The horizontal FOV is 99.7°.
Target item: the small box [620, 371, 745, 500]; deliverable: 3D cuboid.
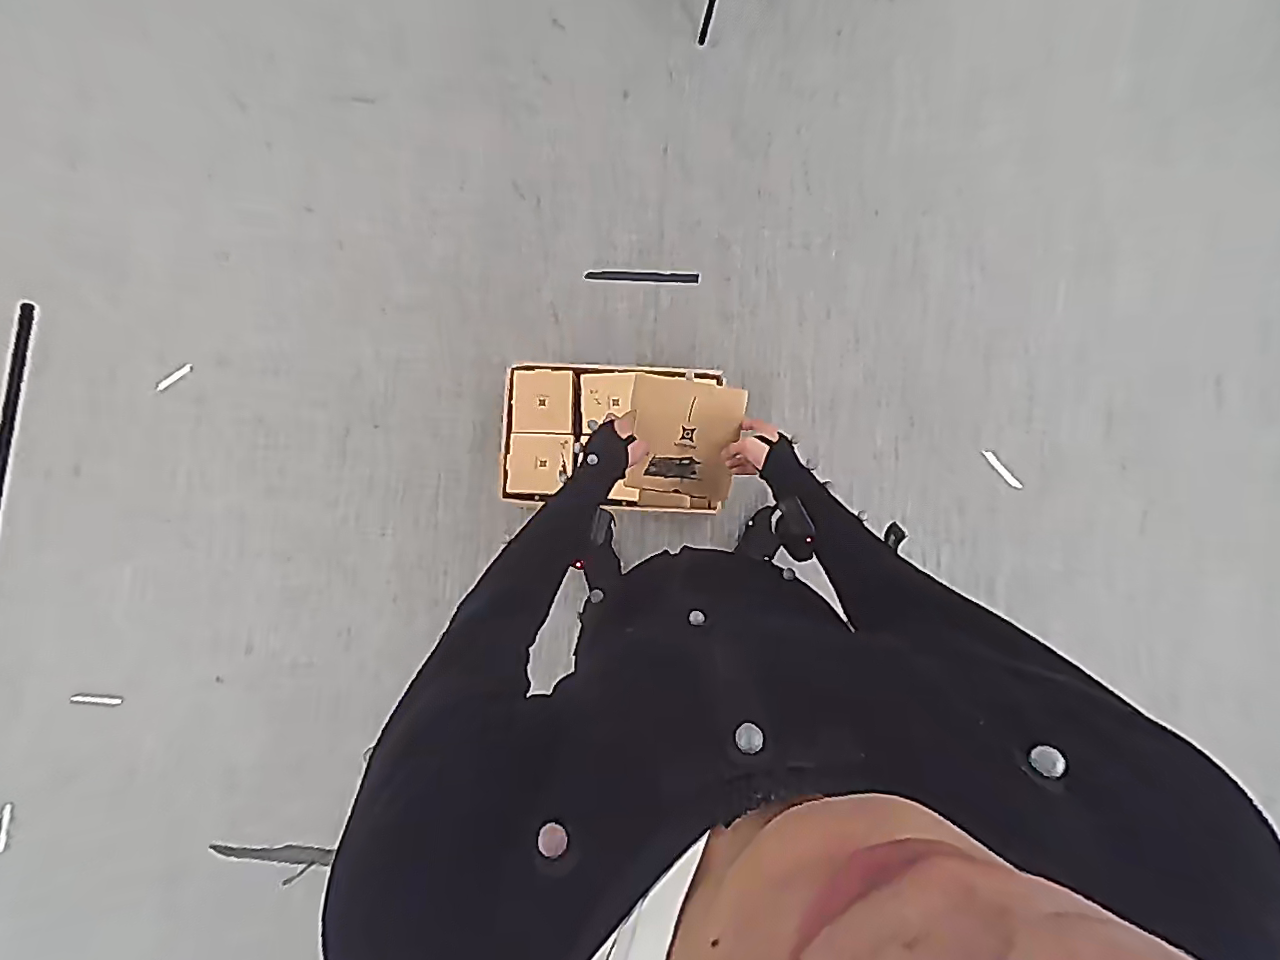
[{"bbox_3d":[0.060,-0.080,0.898,0.168,0.176,0.179,9,100,-6],"label":"small box"}]
